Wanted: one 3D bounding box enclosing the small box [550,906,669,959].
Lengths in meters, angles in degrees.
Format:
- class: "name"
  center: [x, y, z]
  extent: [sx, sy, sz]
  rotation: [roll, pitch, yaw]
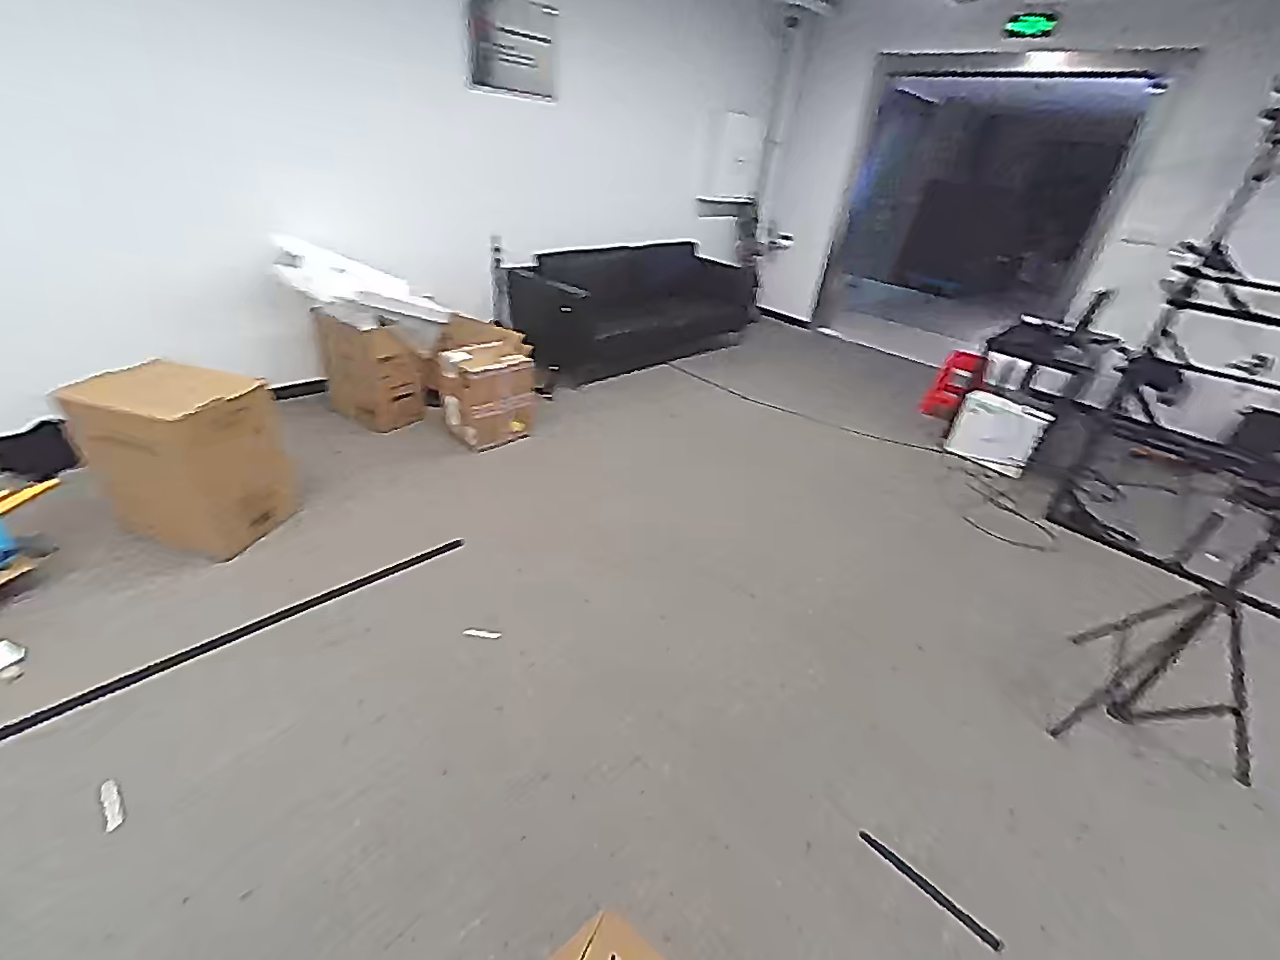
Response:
- class: "small box"
  center: [-0.034, 0.516, 0.441]
  extent: [0.179, 0.176, 0.168]
  rotation: [37, 29, 8]
